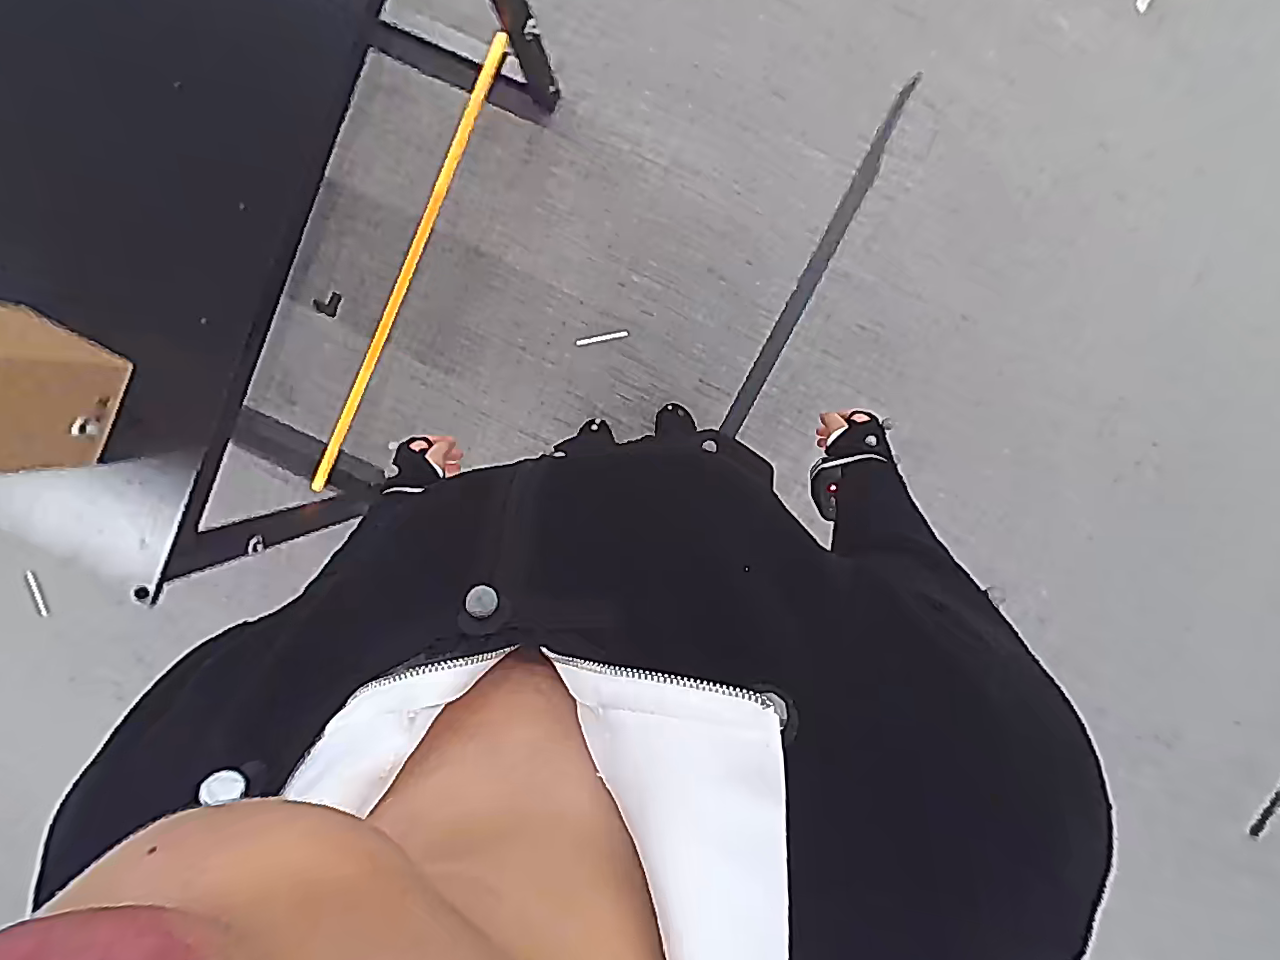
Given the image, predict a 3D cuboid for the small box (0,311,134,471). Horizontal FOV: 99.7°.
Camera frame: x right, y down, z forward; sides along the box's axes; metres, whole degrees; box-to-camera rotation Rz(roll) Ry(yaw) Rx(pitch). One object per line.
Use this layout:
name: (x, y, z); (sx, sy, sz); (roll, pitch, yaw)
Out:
small box: (-0.830, -0.117, 0.696); (0.179, 0.176, 0.168); (27, 99, -1)
